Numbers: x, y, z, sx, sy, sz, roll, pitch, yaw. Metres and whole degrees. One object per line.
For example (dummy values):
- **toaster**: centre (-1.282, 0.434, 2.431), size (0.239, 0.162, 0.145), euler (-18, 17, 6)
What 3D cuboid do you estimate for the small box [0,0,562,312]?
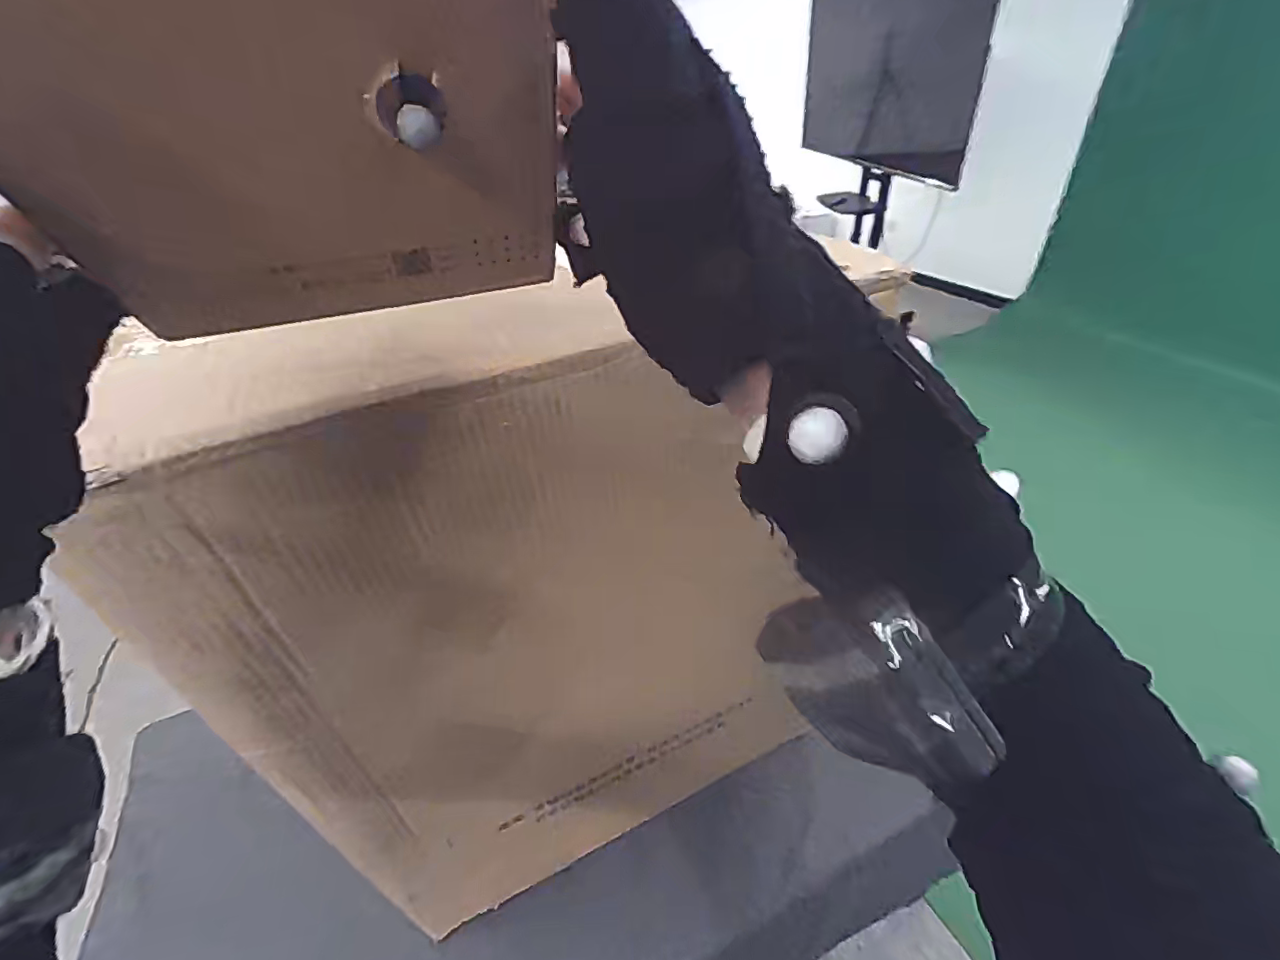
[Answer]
- **small box**: centre (-0.125, -0.179, 0.193), size (0.168, 0.176, 0.179), euler (-14, 72, -16)
